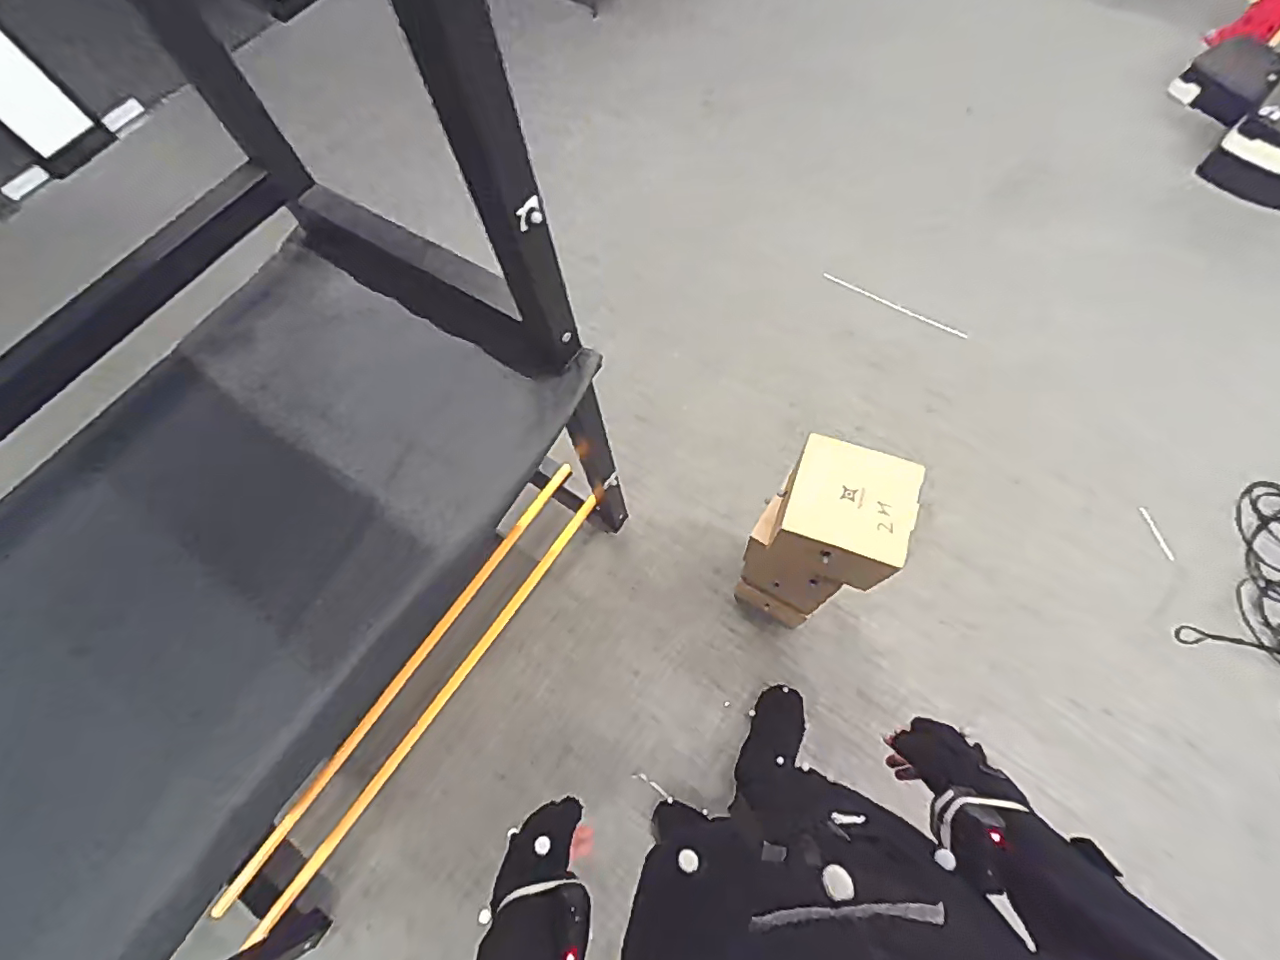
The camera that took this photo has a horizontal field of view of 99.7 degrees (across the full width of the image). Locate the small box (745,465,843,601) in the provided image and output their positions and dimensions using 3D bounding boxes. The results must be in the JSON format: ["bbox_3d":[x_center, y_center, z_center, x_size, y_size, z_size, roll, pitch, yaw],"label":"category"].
[{"bbox_3d":[0.313,0.106,1.010,0.179,0.176,0.168,32,74,16],"label":"small box"}]

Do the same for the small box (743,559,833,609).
[{"bbox_3d":[0.340,0.161,1.162,0.179,0.176,0.168,29,73,17],"label":"small box"}]

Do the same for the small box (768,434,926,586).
[{"bbox_3d":[0.315,0.055,0.854,0.179,0.176,0.168,19,71,12],"label":"small box"}]
